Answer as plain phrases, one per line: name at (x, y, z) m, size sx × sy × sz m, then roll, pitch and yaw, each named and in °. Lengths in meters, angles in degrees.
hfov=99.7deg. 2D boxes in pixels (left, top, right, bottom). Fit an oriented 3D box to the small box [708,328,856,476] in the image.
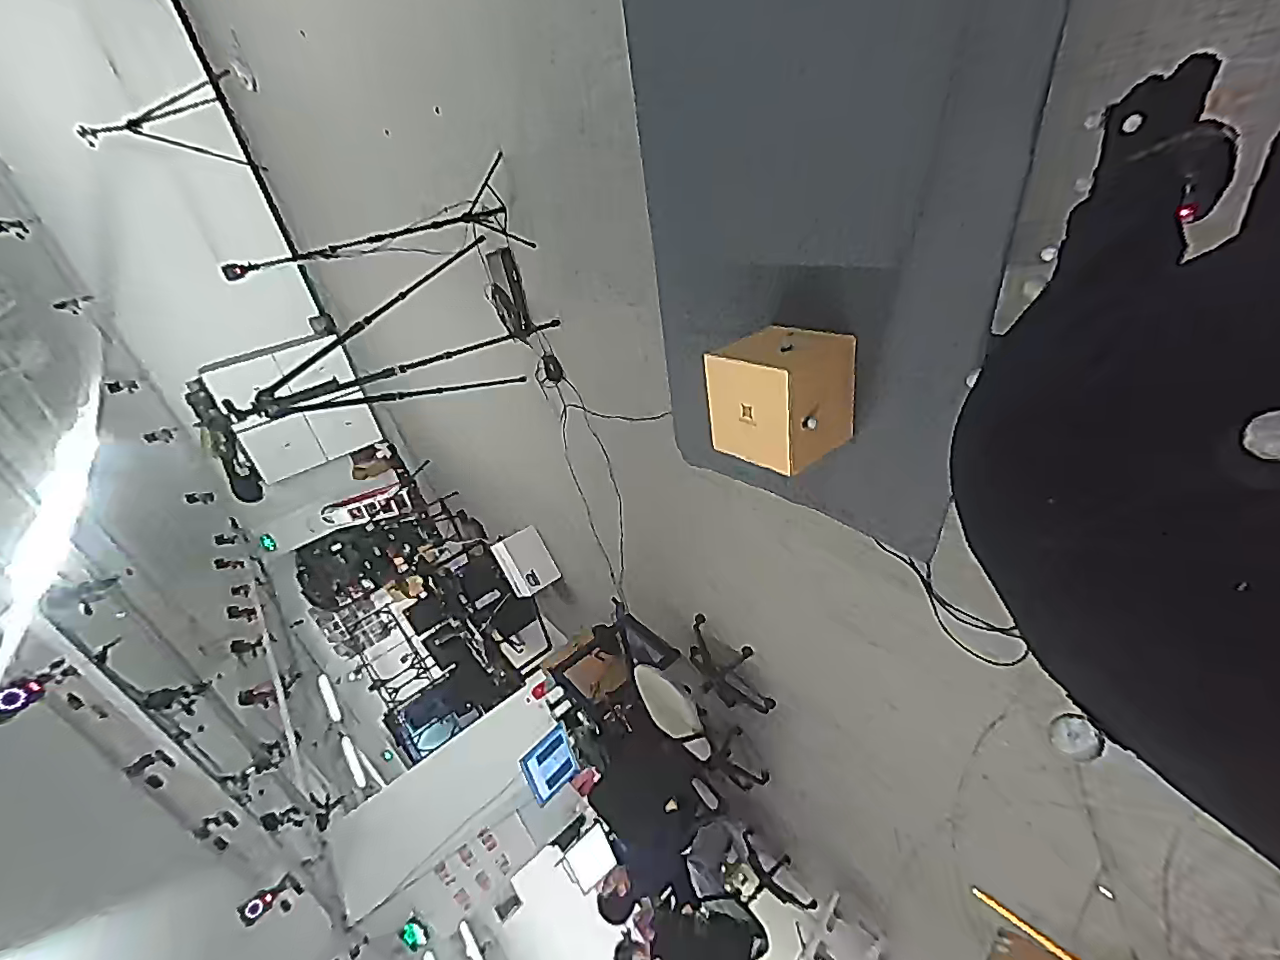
small box at (0.234, -0.137, 0.884) m, size 0.168 × 0.176 × 0.179 m, roll 26°, pitch 137°, yaw 46°
